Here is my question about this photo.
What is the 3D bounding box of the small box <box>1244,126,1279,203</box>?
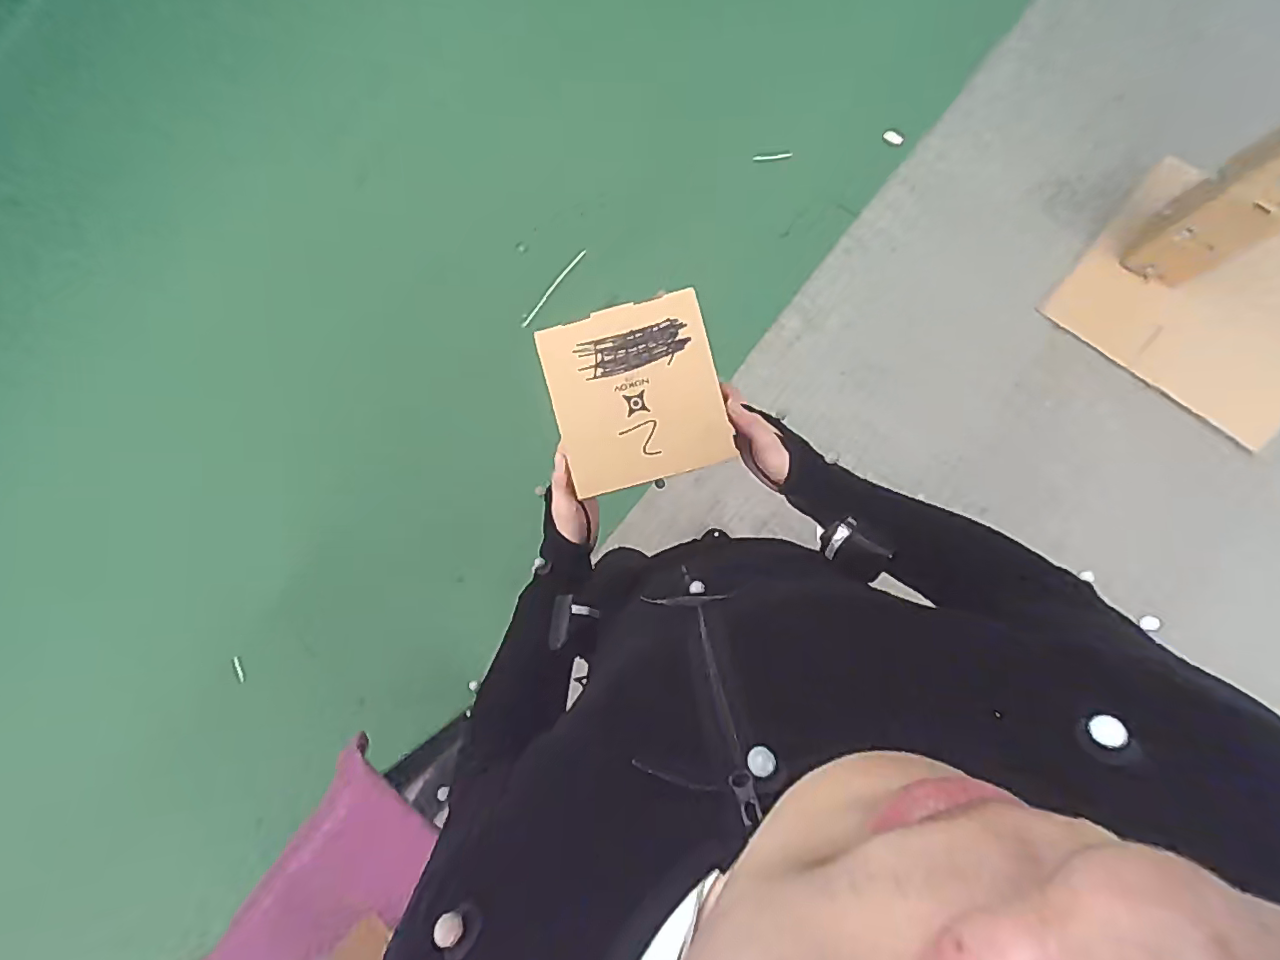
[{"bbox_3d":[1.466,-0.706,1.145,0.168,0.176,0.179,35,88,9],"label":"small box"}]

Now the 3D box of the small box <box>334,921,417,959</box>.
[{"bbox_3d":[-0.445,0.840,0.813,0.168,0.176,0.179,36,90,8],"label":"small box"}]

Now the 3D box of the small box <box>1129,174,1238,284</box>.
[{"bbox_3d":[1.500,-0.674,1.467,0.168,0.176,0.179,31,89,9],"label":"small box"}]

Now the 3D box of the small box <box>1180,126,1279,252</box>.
[{"bbox_3d":[1.481,-0.691,1.305,0.168,0.176,0.179,35,88,9],"label":"small box"}]
